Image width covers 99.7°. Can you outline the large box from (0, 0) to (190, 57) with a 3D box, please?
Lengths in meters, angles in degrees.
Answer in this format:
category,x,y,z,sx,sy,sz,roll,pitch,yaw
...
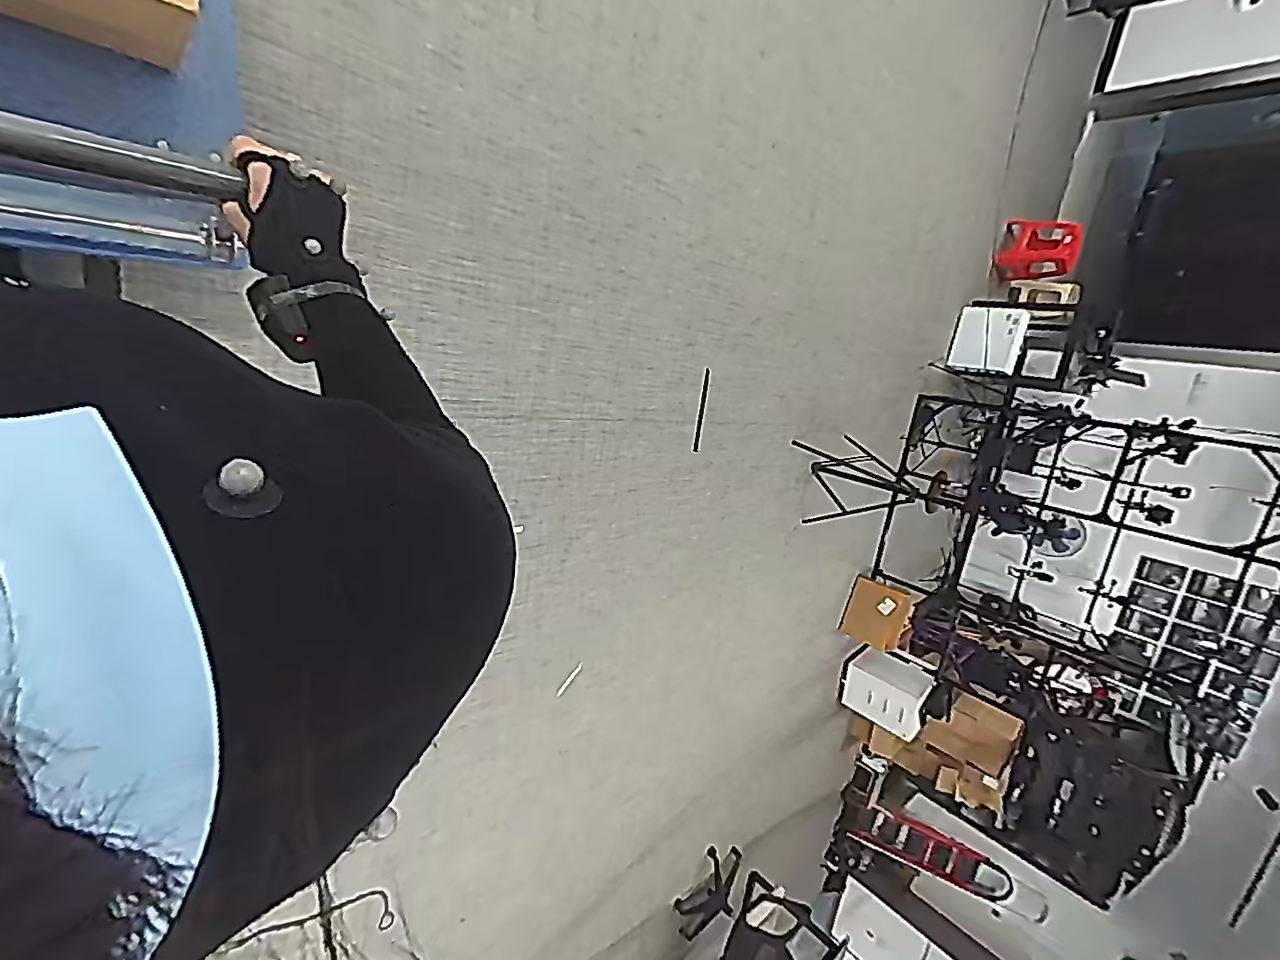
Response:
category,x,y,z,sx,sy,sz,roll,pitch,yaw
large box,-0.811,-0.783,0.631,0.408,0.320,0.320,-7,110,-43
